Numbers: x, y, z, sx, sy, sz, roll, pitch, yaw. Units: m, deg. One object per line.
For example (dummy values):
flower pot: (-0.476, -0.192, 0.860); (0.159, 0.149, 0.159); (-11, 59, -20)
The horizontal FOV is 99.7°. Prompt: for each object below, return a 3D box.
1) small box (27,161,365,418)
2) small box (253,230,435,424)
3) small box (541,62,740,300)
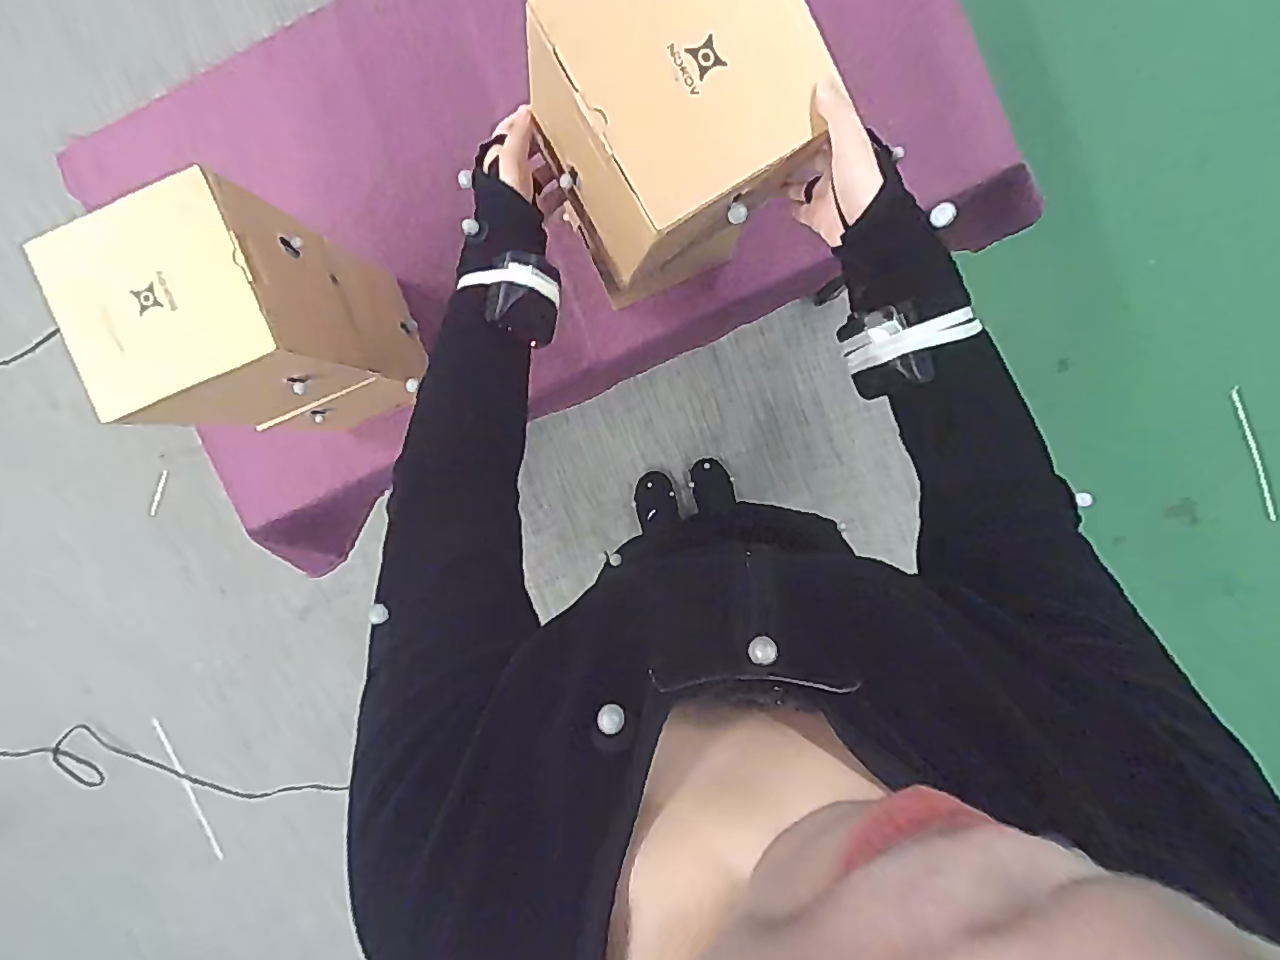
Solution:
small box: (-0.407, -0.167, 0.535); (0.179, 0.176, 0.168); (-20, 93, 5)
small box: (-0.398, -0.181, 0.698); (0.168, 0.176, 0.179); (-21, 93, 5)
small box: (0.005, -0.343, 0.663); (0.179, 0.176, 0.168); (-22, 93, 4)
